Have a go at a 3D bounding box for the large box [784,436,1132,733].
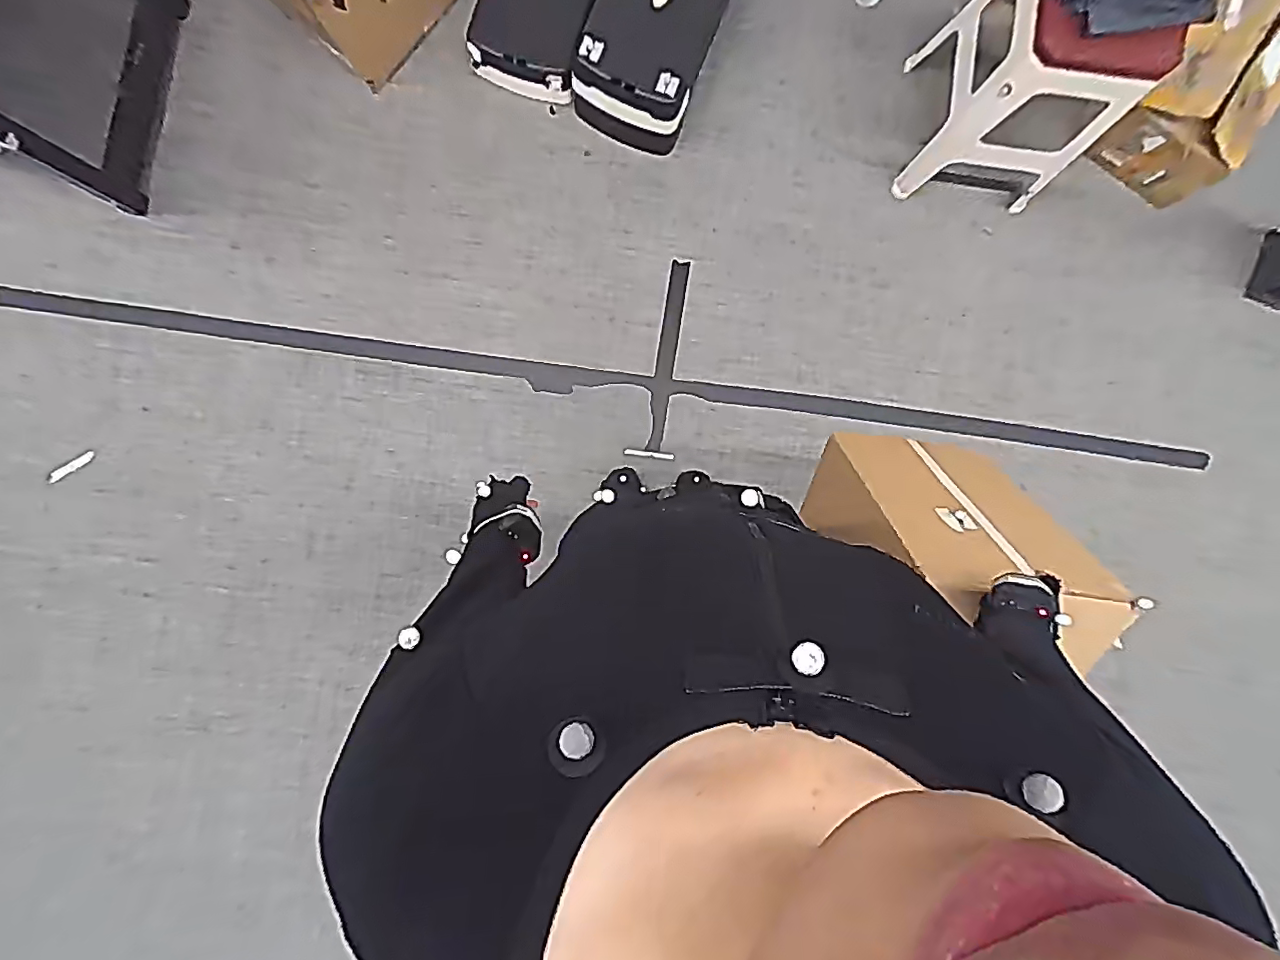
[{"bbox_3d":[0.491,0.168,0.963,0.320,0.408,0.320,7,124,-6],"label":"large box"}]
